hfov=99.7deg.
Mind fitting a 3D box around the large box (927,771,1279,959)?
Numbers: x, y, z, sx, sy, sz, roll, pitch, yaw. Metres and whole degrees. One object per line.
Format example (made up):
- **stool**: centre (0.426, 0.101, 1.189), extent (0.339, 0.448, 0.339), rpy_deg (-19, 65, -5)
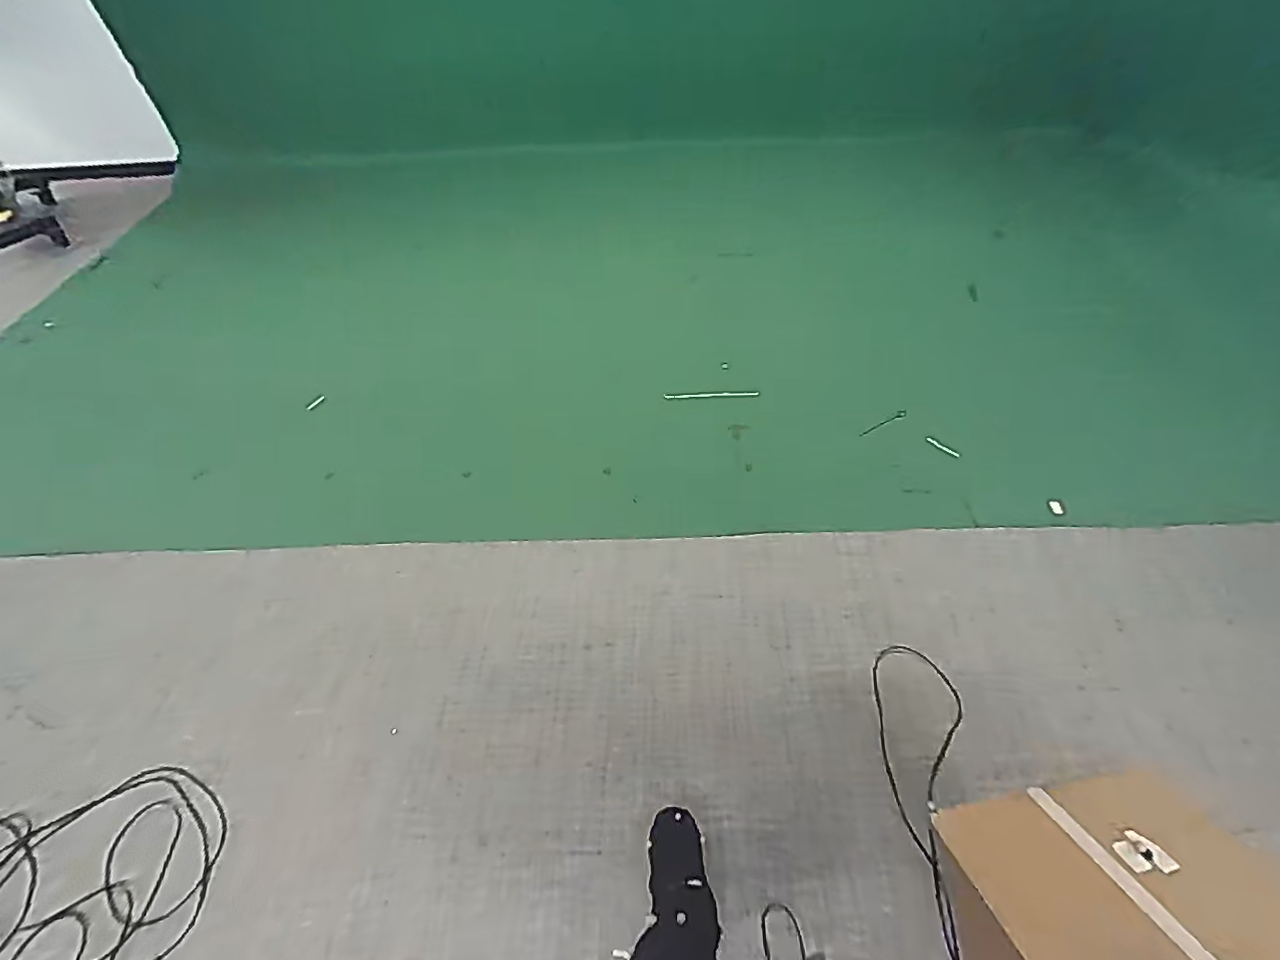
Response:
- **large box**: centre (0.621, 0.640, 0.635), extent (0.320, 0.408, 0.320), rpy_deg (-15, 96, 3)
